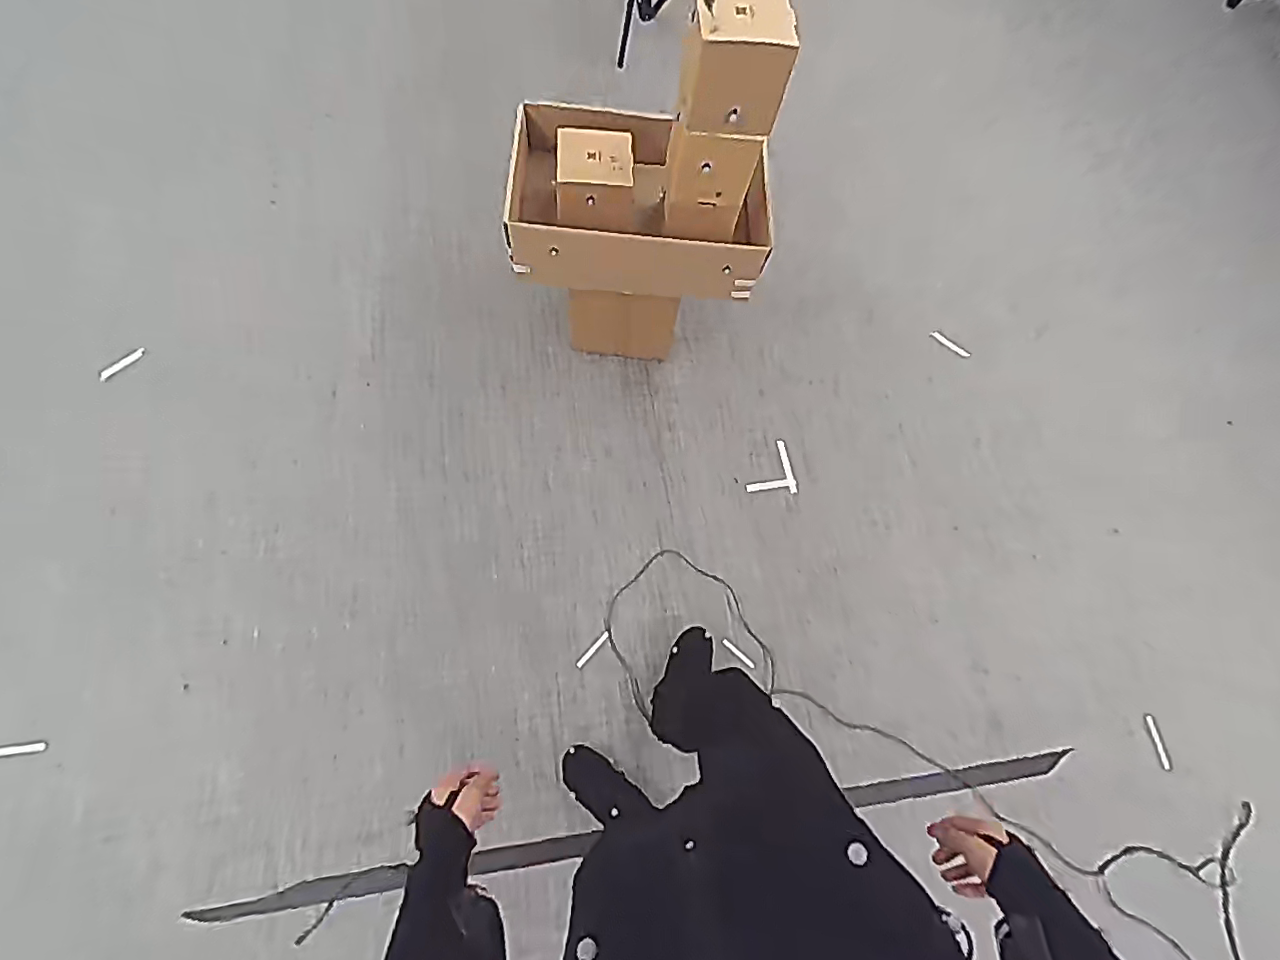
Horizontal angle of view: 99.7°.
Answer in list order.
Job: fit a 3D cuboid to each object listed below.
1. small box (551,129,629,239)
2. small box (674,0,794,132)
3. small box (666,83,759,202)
[{"bbox_3d":[-0.120,-0.709,1.308,0.179,0.176,0.168,0,71,-7],"label":"small box"},{"bbox_3d":[0.168,-0.792,1.021,0.179,0.176,0.168,-1,70,-7],"label":"small box"},{"bbox_3d":[0.150,-0.735,1.173,0.168,0.176,0.179,1,70,-6],"label":"small box"}]
